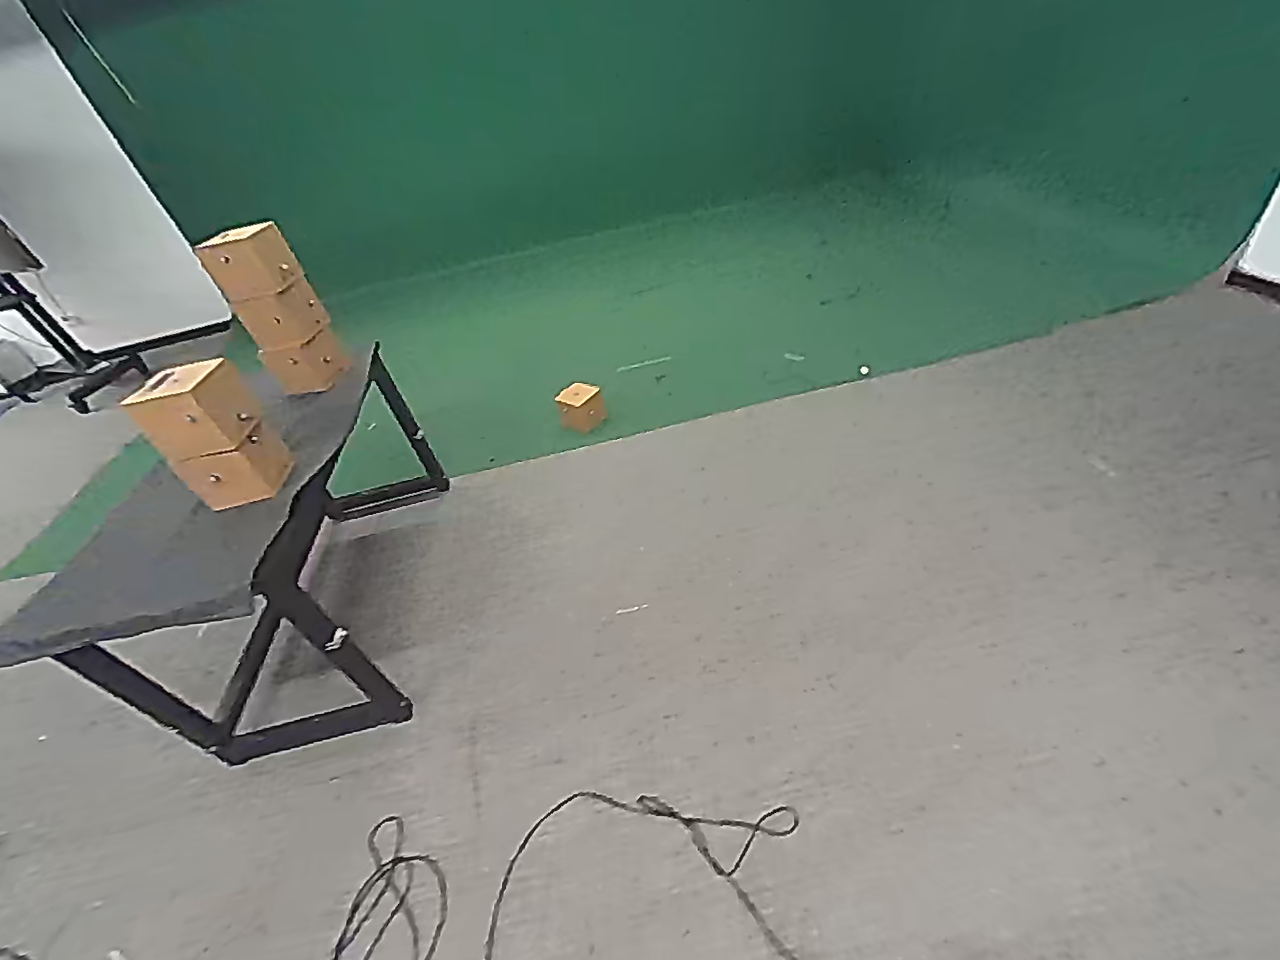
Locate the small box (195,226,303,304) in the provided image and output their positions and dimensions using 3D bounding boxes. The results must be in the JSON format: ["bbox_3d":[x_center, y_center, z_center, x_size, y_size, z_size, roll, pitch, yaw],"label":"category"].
[{"bbox_3d":[-1.208,-0.666,1.686,0.179,0.176,0.168,-9,40,7],"label":"small box"}]

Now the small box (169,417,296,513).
[{"bbox_3d":[-1.067,-0.036,1.433,0.179,0.176,0.168,-15,40,0],"label":"small box"}]

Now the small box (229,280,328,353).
[{"bbox_3d":[-1.181,-0.538,1.786,0.179,0.176,0.168,-6,40,13],"label":"small box"}]

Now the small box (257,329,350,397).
[{"bbox_3d":[-1.156,-0.404,1.876,0.179,0.176,0.168,-2,41,16],"label":"small box"}]

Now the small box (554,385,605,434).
[{"bbox_3d":[-0.299,-0.350,2.716,0.179,0.176,0.168,19,50,33],"label":"small box"}]
